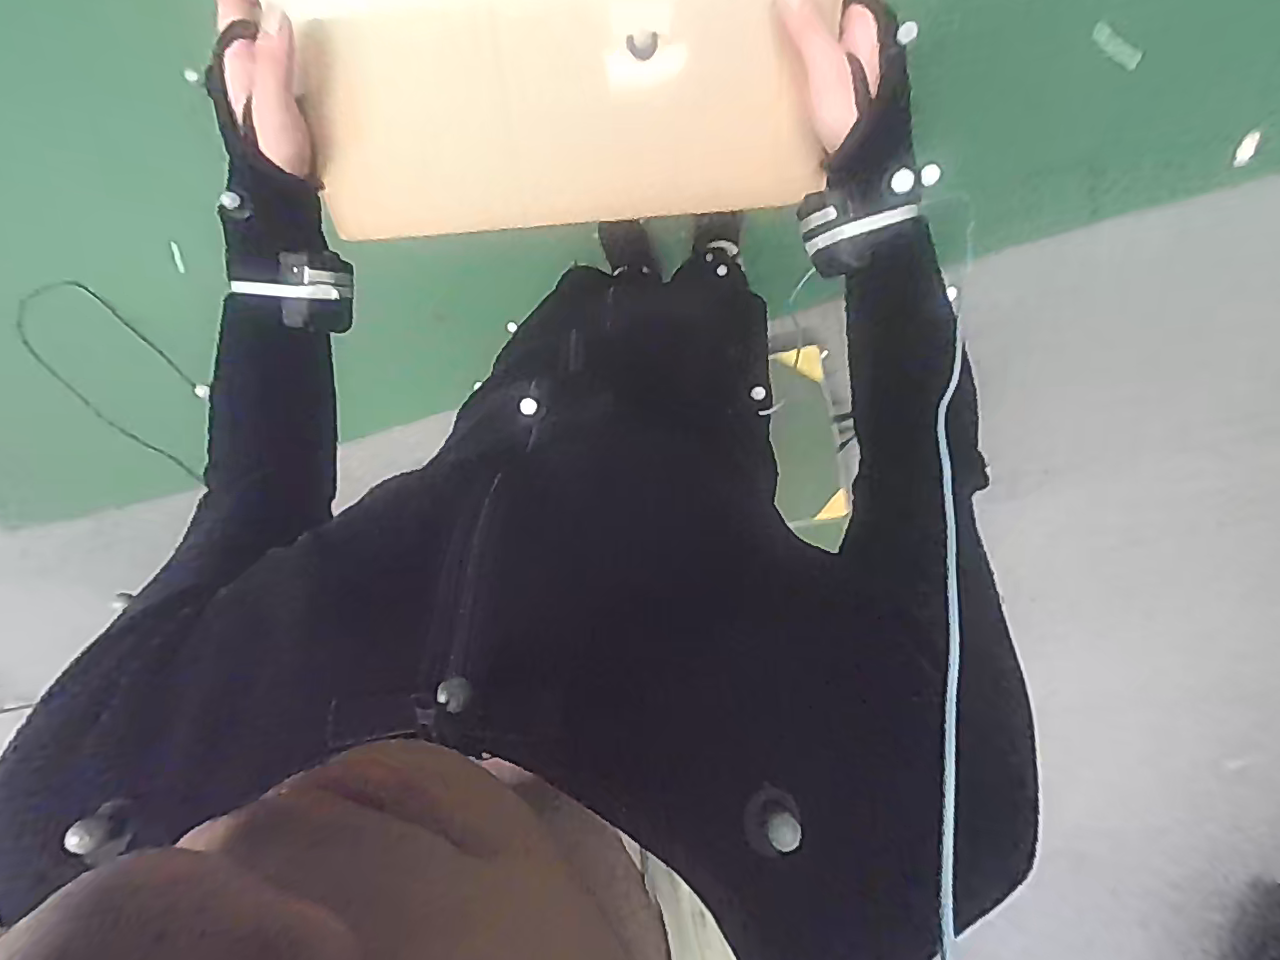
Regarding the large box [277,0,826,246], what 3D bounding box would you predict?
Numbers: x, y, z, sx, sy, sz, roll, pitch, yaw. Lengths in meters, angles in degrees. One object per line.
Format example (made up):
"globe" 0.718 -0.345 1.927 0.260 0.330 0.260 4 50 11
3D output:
"large box" -0.065 -0.423 0.514 0.408 0.320 0.320 -4 119 4
